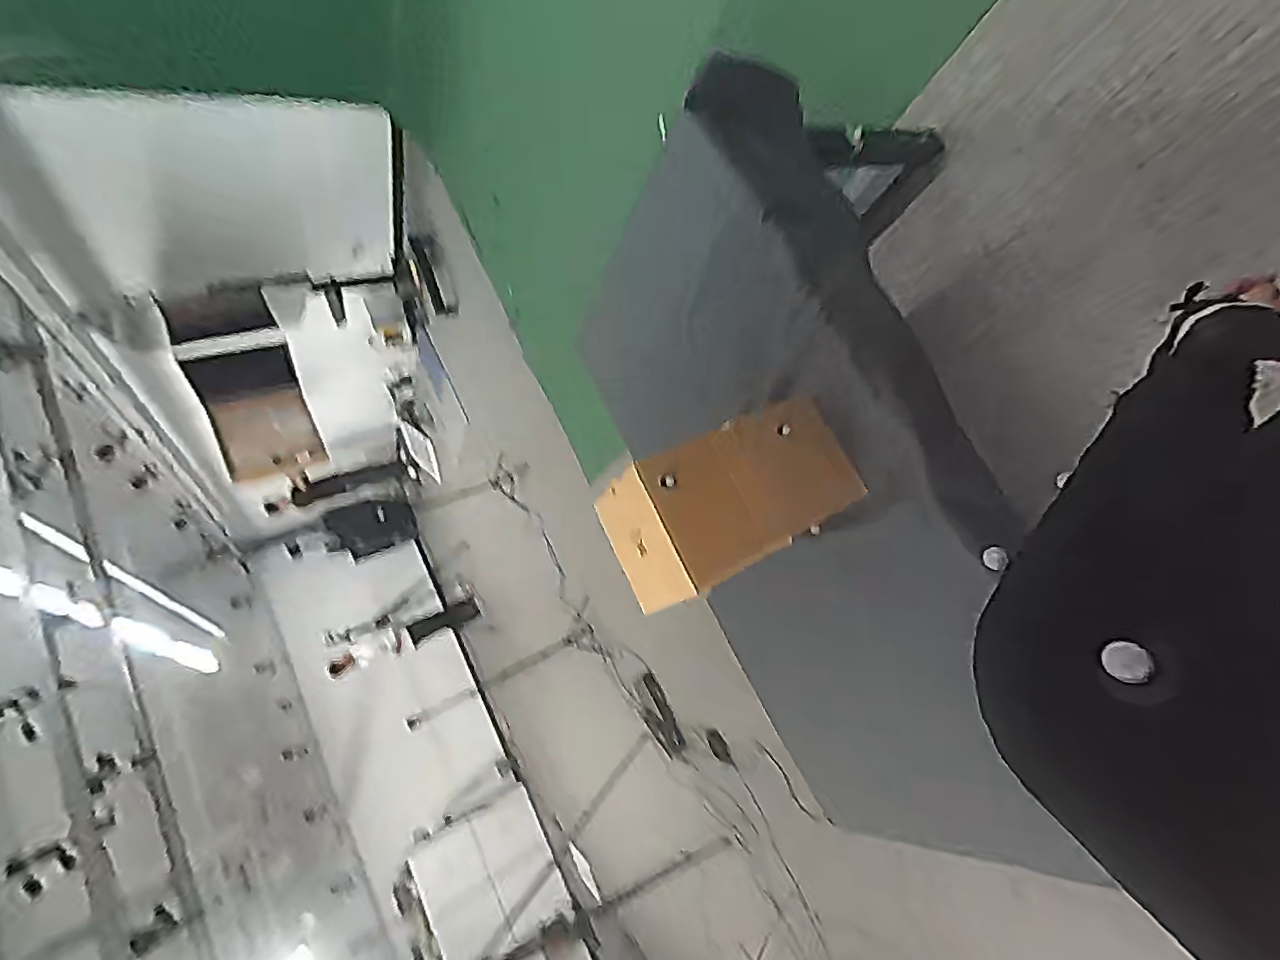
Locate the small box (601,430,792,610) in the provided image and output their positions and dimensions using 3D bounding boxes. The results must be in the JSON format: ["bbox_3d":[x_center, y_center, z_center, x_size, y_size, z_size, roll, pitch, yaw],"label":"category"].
[{"bbox_3d":[0.075,0.055,0.747,0.179,0.176,0.168,64,151,11],"label":"small box"}]

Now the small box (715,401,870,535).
[{"bbox_3d":[0.205,-0.004,0.825,0.179,0.176,0.168,61,151,12],"label":"small box"}]
